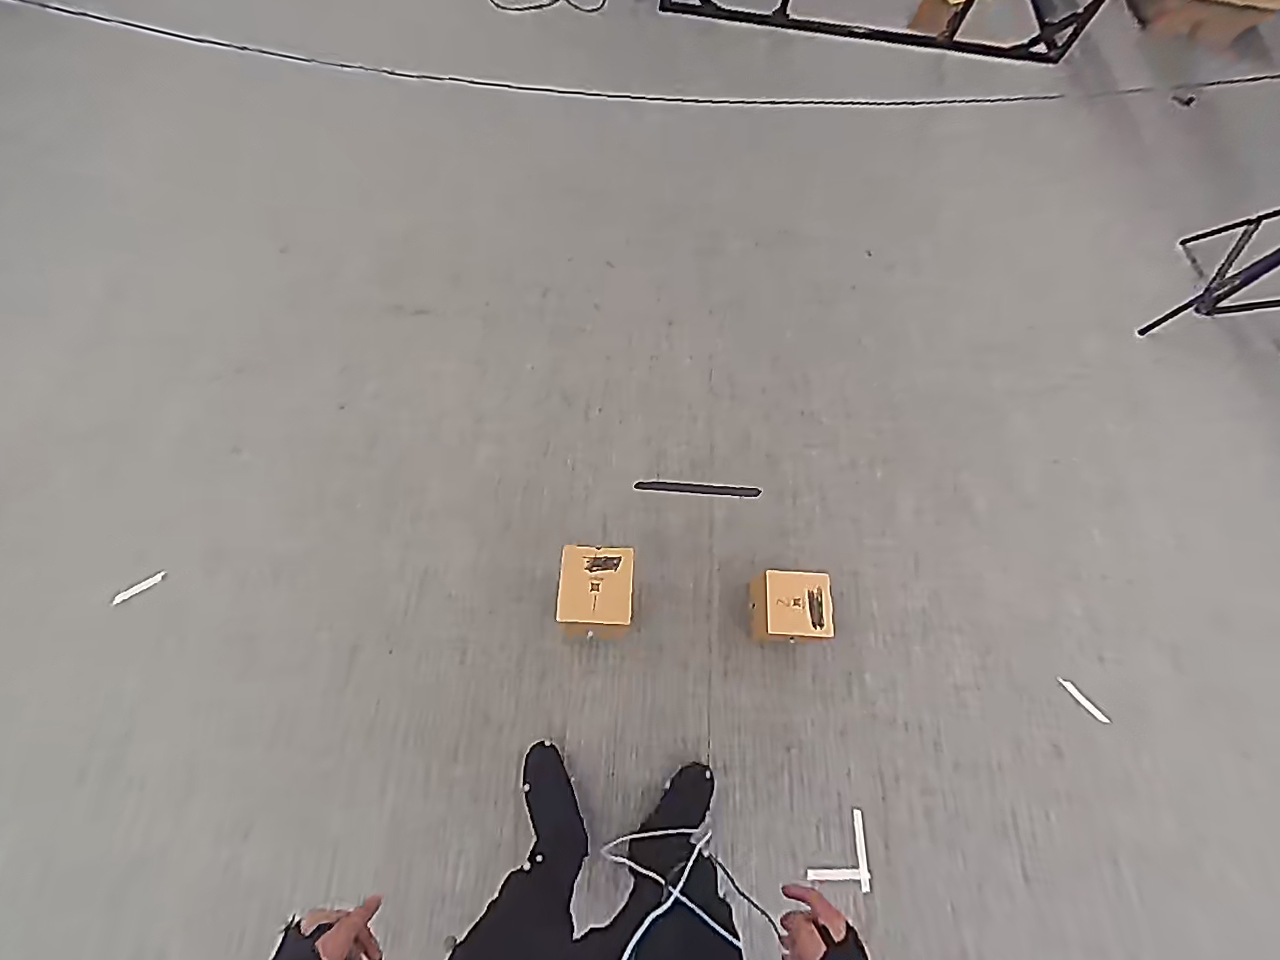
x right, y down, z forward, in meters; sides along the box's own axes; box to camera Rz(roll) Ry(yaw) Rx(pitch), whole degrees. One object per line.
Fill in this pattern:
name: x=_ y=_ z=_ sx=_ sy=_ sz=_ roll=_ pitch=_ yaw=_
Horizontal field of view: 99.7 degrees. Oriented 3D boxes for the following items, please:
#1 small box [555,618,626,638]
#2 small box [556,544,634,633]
small box: x=-0.125 y=0.326 z=1.439 sx=0.179 sy=0.176 sz=0.168 roll=4 pitch=68 yaw=-3
small box: x=-0.106 y=0.263 z=1.289 sx=0.168 sy=0.176 sz=0.179 roll=4 pitch=69 yaw=-3
